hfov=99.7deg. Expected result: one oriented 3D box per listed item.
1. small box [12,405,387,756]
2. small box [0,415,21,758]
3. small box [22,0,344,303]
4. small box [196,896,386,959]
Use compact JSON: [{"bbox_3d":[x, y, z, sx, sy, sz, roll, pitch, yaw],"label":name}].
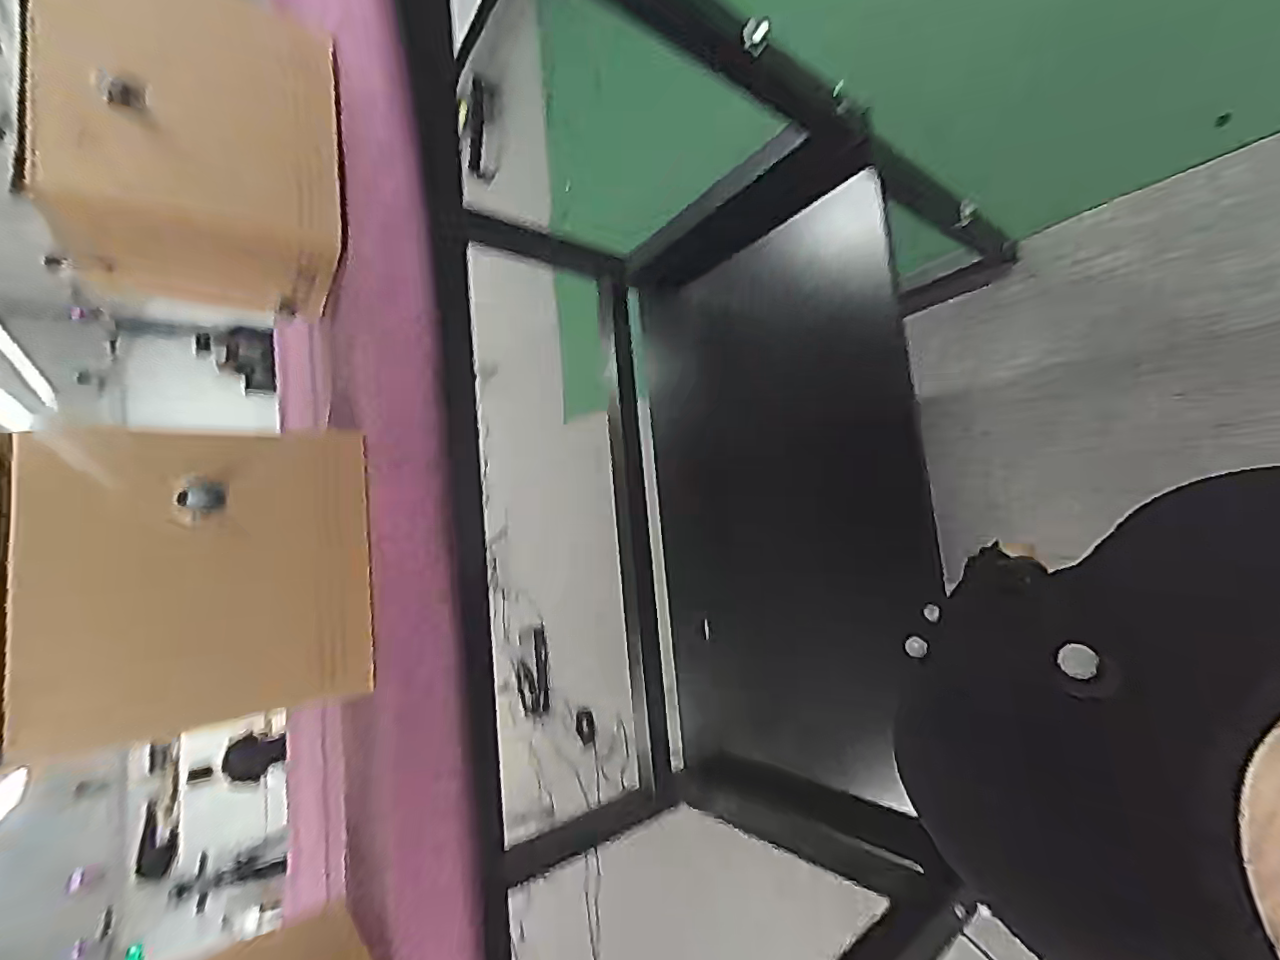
[{"bbox_3d":[-0.289,0.058,0.377,0.168,0.176,0.179,-16,79,51],"label":"small box"},{"bbox_3d":[-0.417,0.067,0.276,0.168,0.176,0.179,-19,76,50],"label":"small box"},{"bbox_3d":[-0.343,-0.256,0.434,0.168,0.176,0.179,-12,81,53],"label":"small box"},{"bbox_3d":[-0.236,0.390,0.311,0.179,0.176,0.168,-17,76,50],"label":"small box"}]
